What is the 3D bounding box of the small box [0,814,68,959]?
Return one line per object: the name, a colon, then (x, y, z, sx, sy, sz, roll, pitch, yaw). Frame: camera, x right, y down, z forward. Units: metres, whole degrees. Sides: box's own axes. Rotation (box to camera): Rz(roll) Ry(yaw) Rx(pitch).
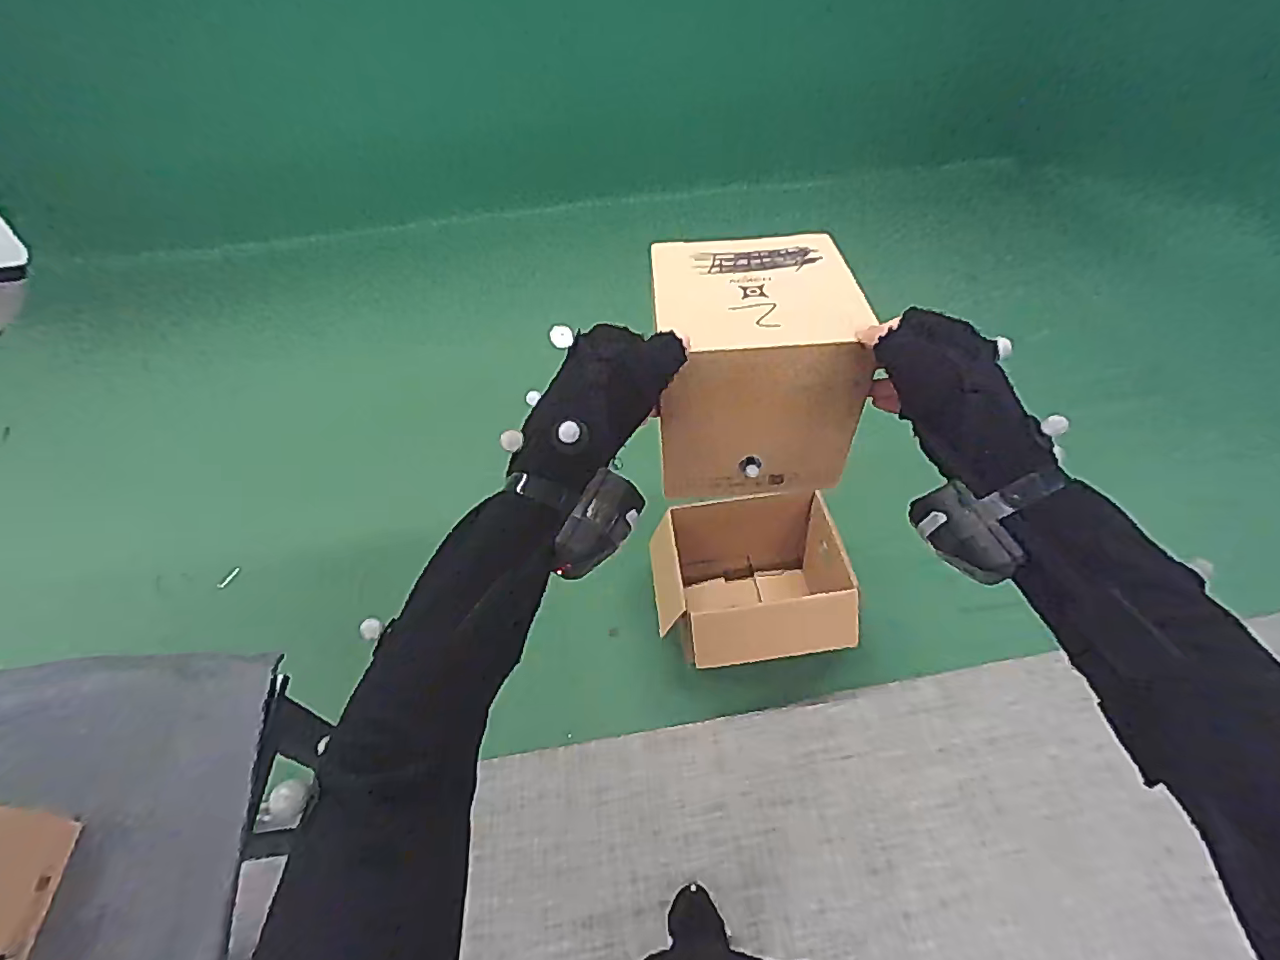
small box: (-0.738, 0.429, 0.520, 0.179, 0.176, 0.168, -10, 50, -4)
